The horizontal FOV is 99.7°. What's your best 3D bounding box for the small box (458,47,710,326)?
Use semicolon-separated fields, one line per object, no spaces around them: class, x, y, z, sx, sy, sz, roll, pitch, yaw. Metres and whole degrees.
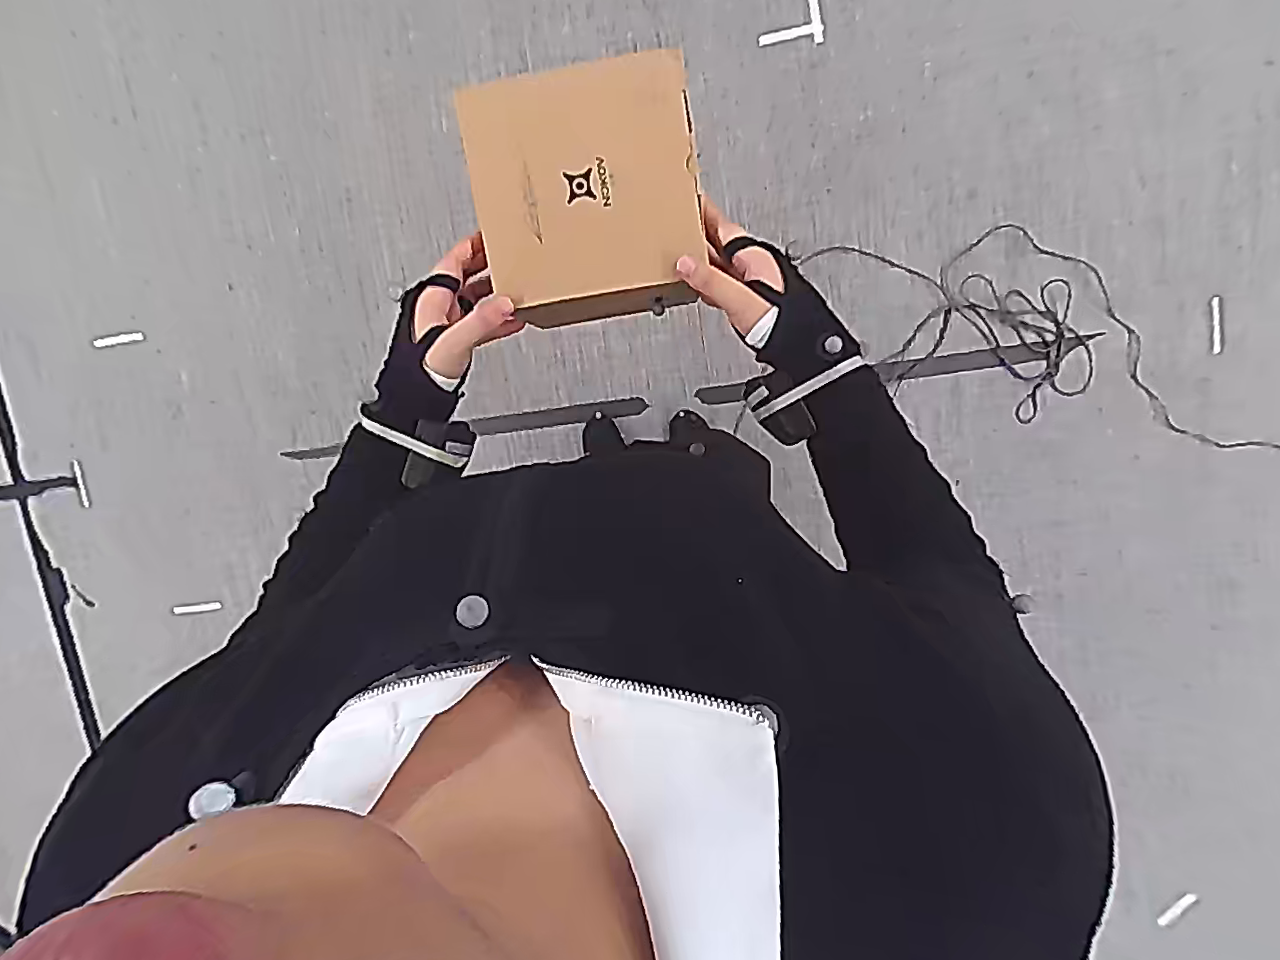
small box;-0.040;-0.246;0.500;0.179;0.176;0.168;-9;99;4
